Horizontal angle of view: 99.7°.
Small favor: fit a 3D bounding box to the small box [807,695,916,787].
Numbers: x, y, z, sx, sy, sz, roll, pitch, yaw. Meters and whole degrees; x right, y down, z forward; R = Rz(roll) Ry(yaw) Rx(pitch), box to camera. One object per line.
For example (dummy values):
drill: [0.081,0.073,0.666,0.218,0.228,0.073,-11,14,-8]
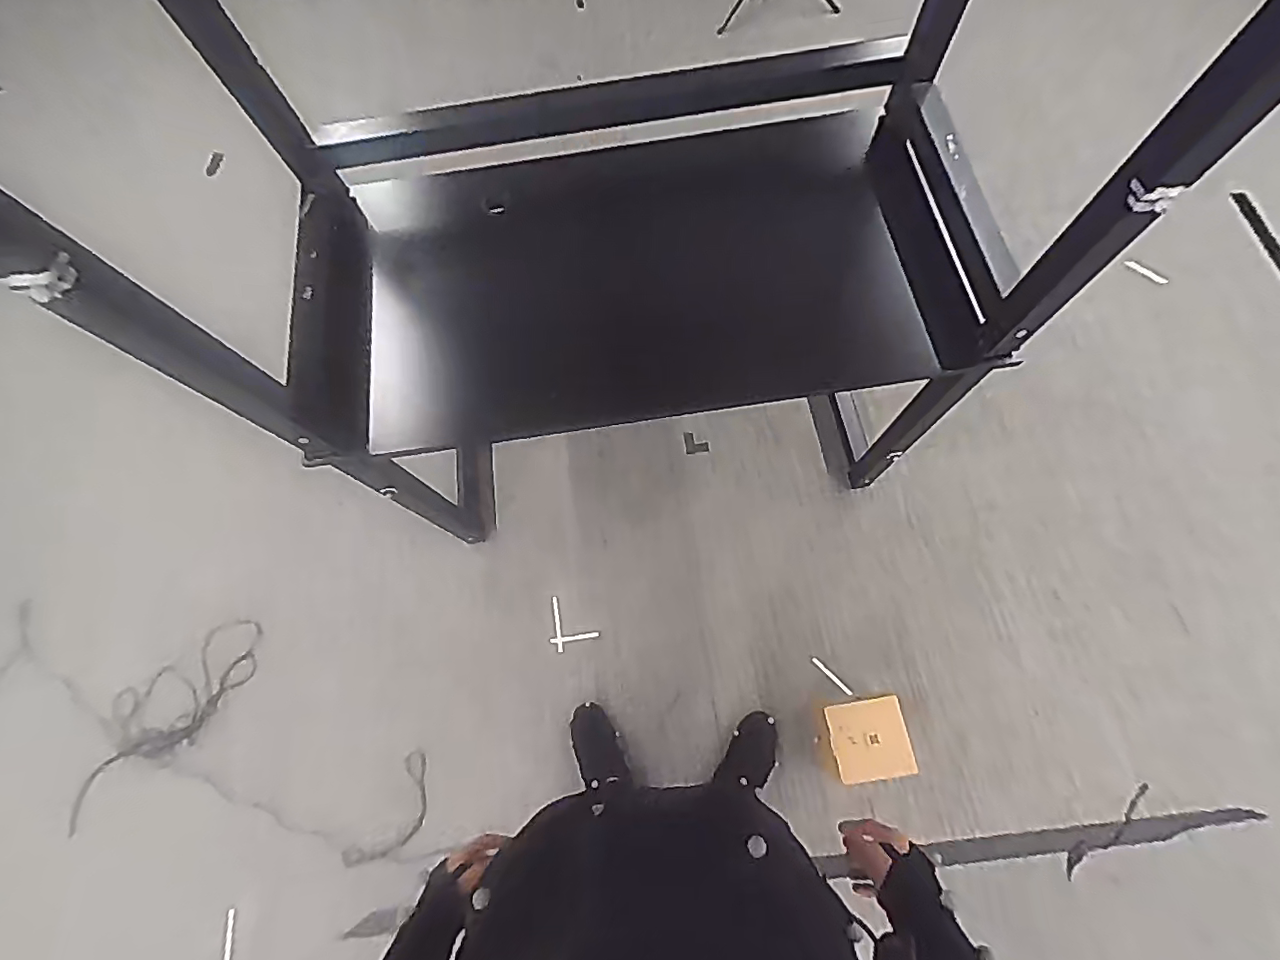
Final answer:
small box: [0.522,0.617,1.299,0.179,0.176,0.168,-9,71,1]
